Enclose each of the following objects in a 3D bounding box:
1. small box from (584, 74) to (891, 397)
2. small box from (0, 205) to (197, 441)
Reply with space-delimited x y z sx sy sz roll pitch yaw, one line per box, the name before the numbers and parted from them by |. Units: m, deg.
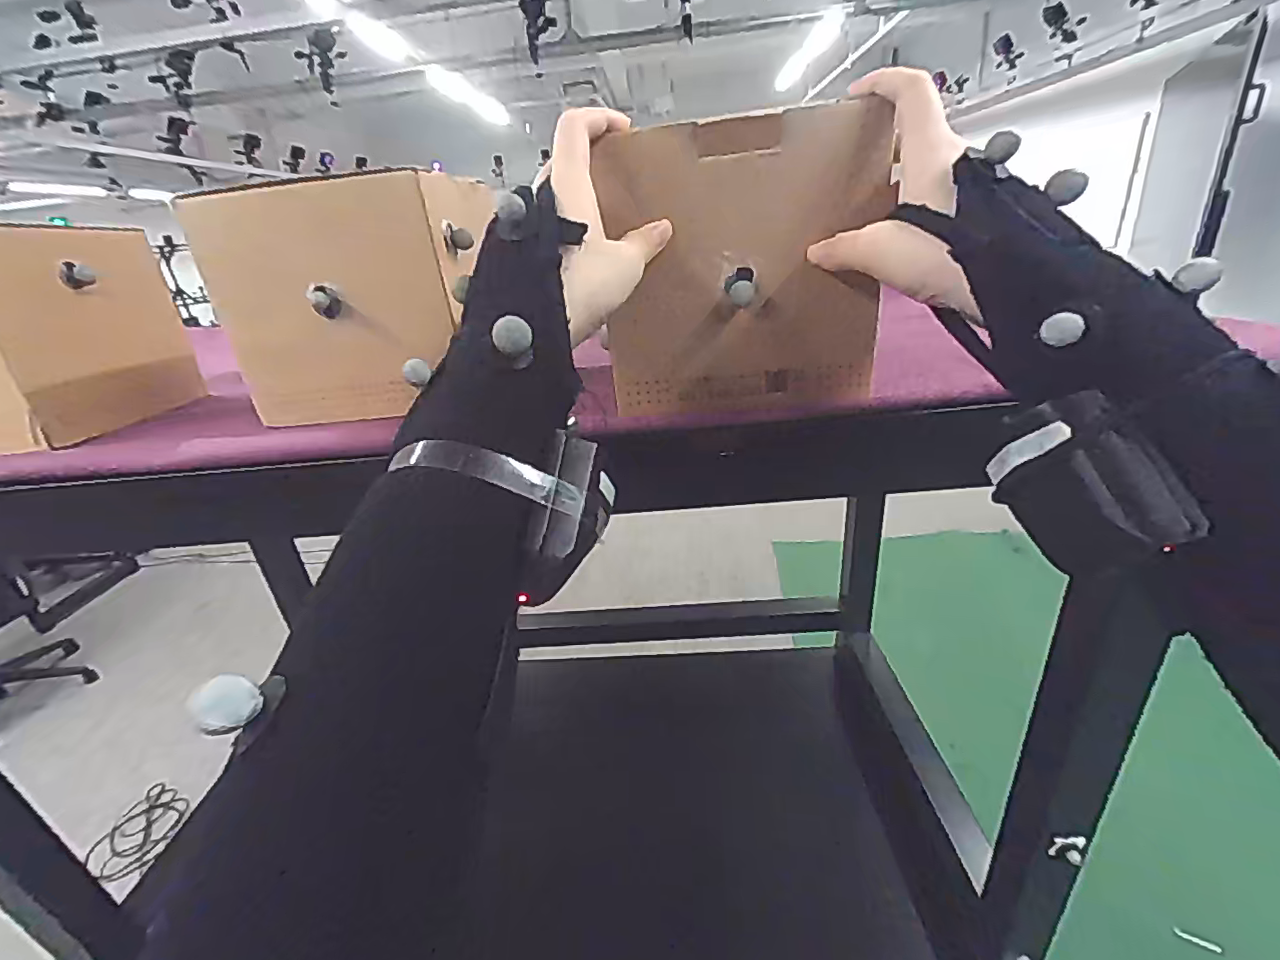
small box | 0.064 -0.162 0.391 0.168 0.176 0.179 -4 26 5
small box | -0.540 -0.137 0.472 0.168 0.176 0.179 -4 24 1
